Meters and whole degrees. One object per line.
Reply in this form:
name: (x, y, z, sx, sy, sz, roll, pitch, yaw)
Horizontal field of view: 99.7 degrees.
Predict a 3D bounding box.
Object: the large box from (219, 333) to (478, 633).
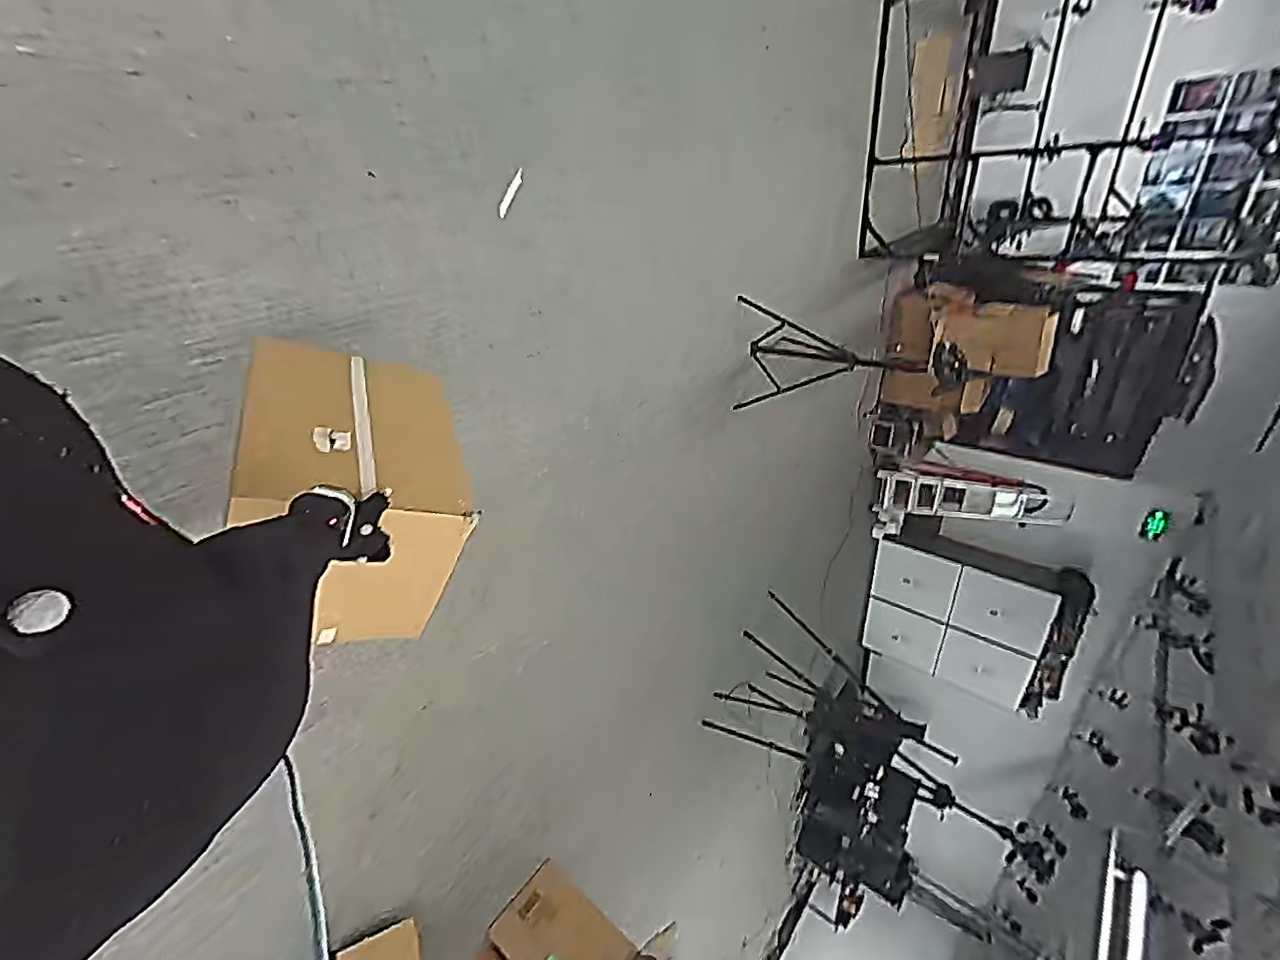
large box: (-0.528, 0.009, 0.961, 0.320, 0.408, 0.320, 7, 130, -37)
